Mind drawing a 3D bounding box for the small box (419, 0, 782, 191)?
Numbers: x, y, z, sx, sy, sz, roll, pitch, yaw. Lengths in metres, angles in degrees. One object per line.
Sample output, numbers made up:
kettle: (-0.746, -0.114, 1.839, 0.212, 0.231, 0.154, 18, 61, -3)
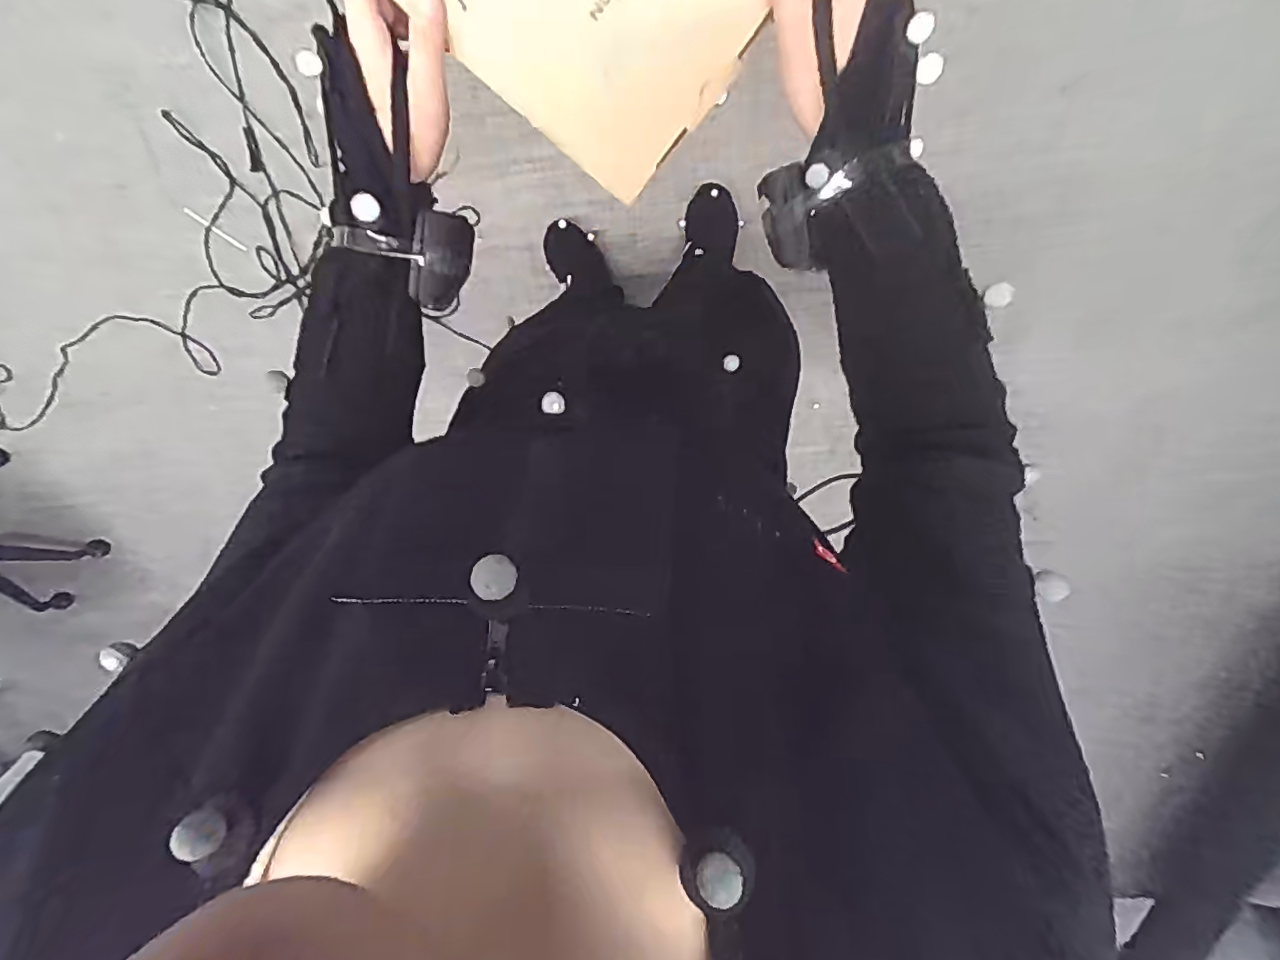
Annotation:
small box: (-0.014, -0.335, 0.351, 0.179, 0.176, 0.168, 33, 125, -22)
